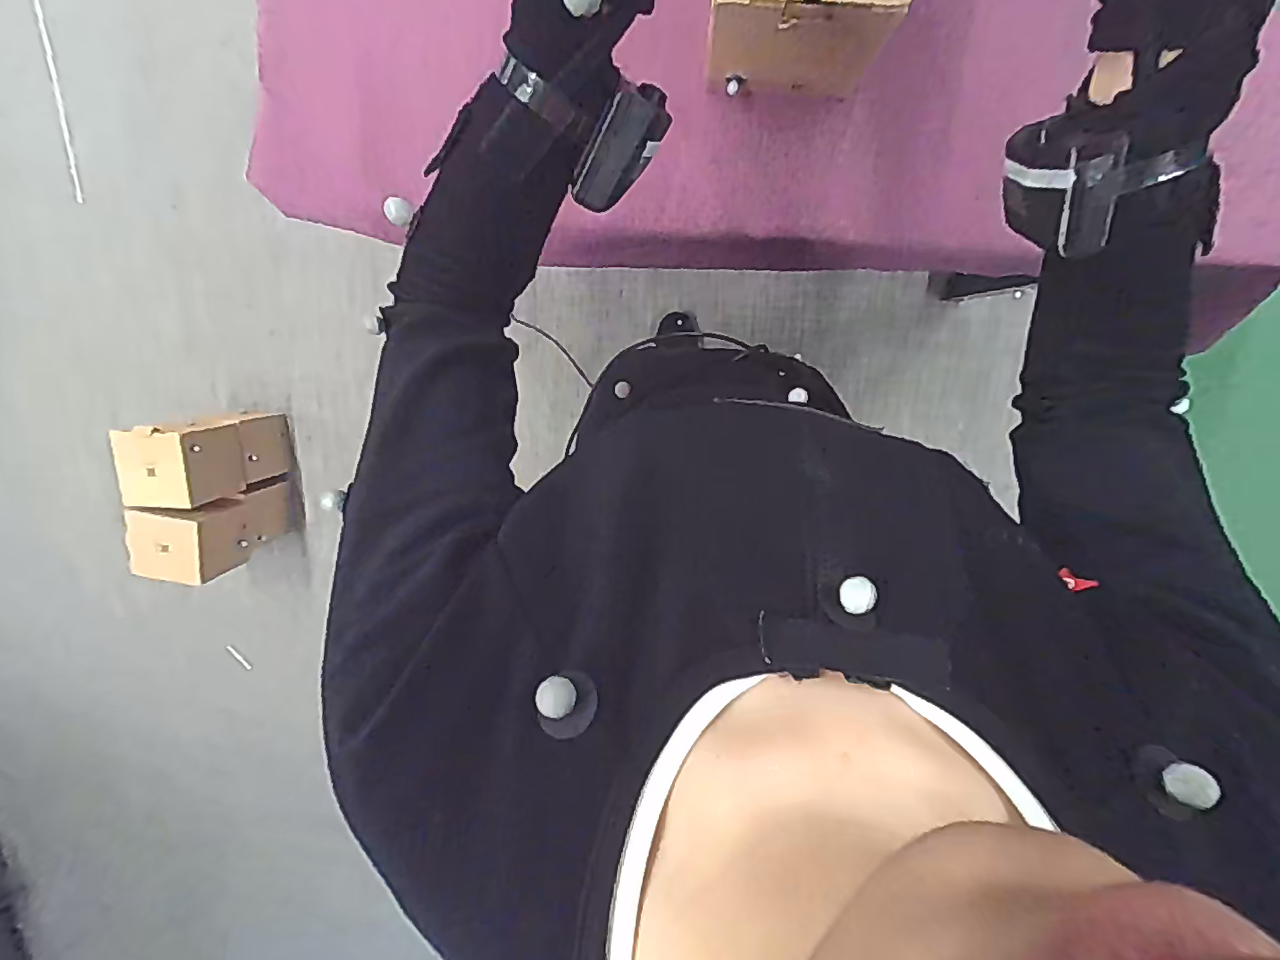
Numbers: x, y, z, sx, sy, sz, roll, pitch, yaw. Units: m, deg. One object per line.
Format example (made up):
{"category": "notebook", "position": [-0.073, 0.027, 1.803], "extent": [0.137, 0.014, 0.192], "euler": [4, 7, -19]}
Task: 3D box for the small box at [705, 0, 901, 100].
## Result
{"category": "small box", "position": [0.155, -0.504, 0.526], "extent": [0.168, 0.176, 0.179], "euler": [5, 103, 2]}
